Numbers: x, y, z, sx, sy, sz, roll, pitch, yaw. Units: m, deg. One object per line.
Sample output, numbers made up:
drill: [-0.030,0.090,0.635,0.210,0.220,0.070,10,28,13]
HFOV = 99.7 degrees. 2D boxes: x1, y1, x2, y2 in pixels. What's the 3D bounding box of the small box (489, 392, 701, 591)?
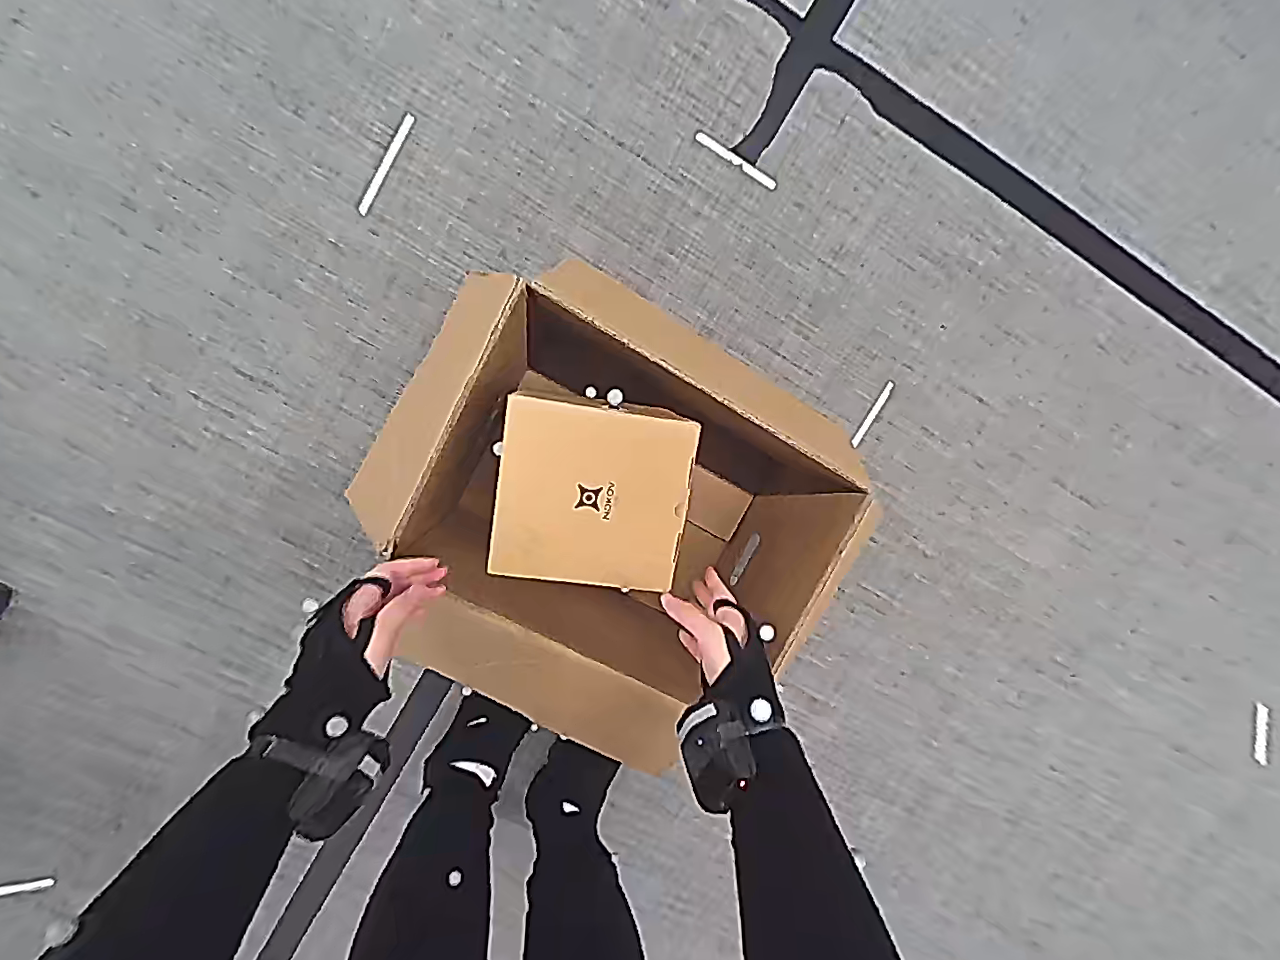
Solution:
small box: [-0.052,0.002,0.573,0.179,0.176,0.168,8,100,-10]
